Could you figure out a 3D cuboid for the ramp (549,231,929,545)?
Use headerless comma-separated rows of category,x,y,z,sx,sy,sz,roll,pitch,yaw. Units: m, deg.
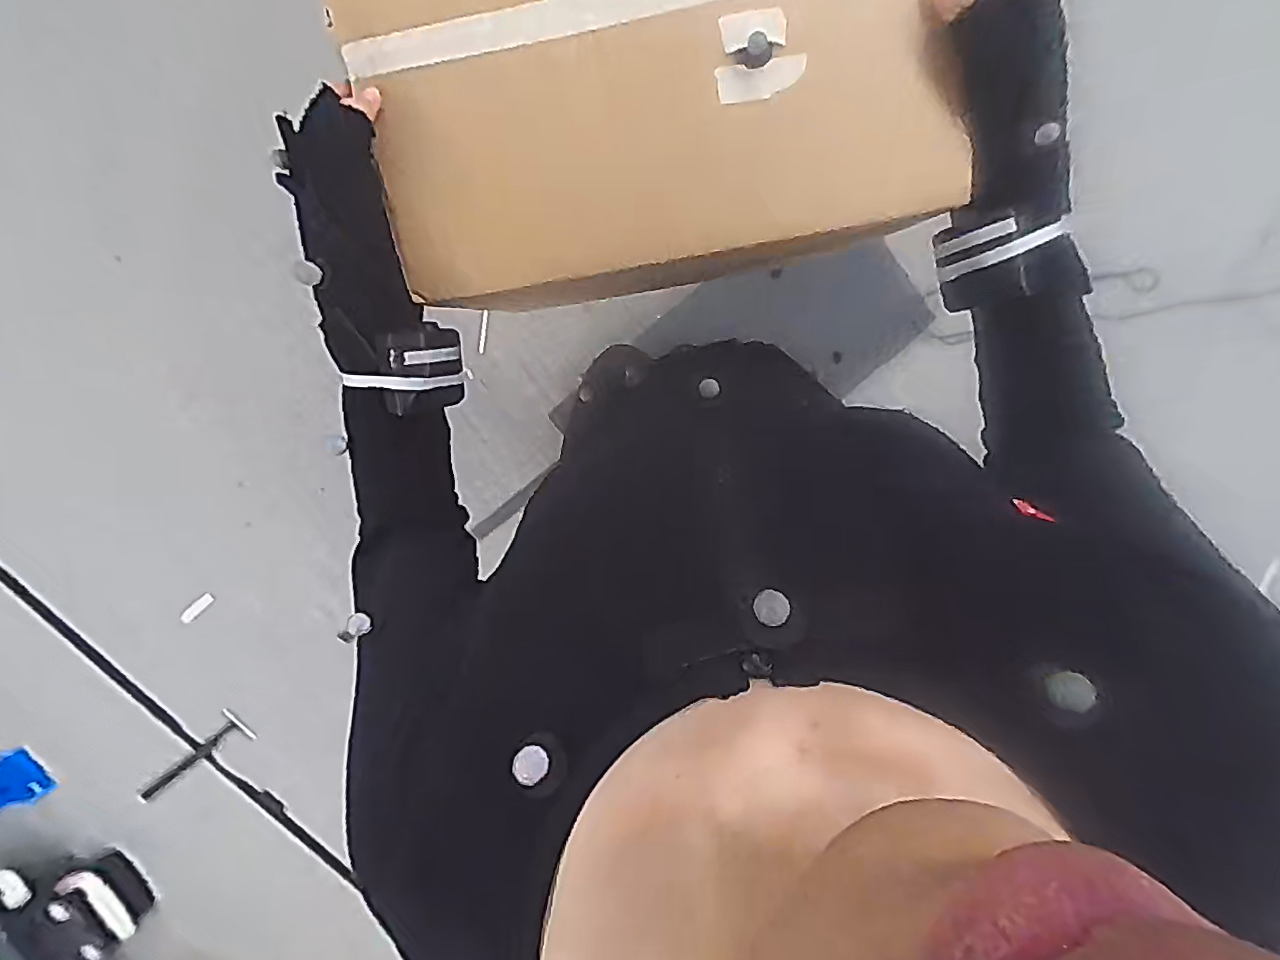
ramp,0.281,-0.318,1.481,0.991,0.206,0.509,-41,98,10

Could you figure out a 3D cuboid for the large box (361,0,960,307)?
large box,0.012,-0.360,0.507,0.408,0.320,0.320,-8,105,3
